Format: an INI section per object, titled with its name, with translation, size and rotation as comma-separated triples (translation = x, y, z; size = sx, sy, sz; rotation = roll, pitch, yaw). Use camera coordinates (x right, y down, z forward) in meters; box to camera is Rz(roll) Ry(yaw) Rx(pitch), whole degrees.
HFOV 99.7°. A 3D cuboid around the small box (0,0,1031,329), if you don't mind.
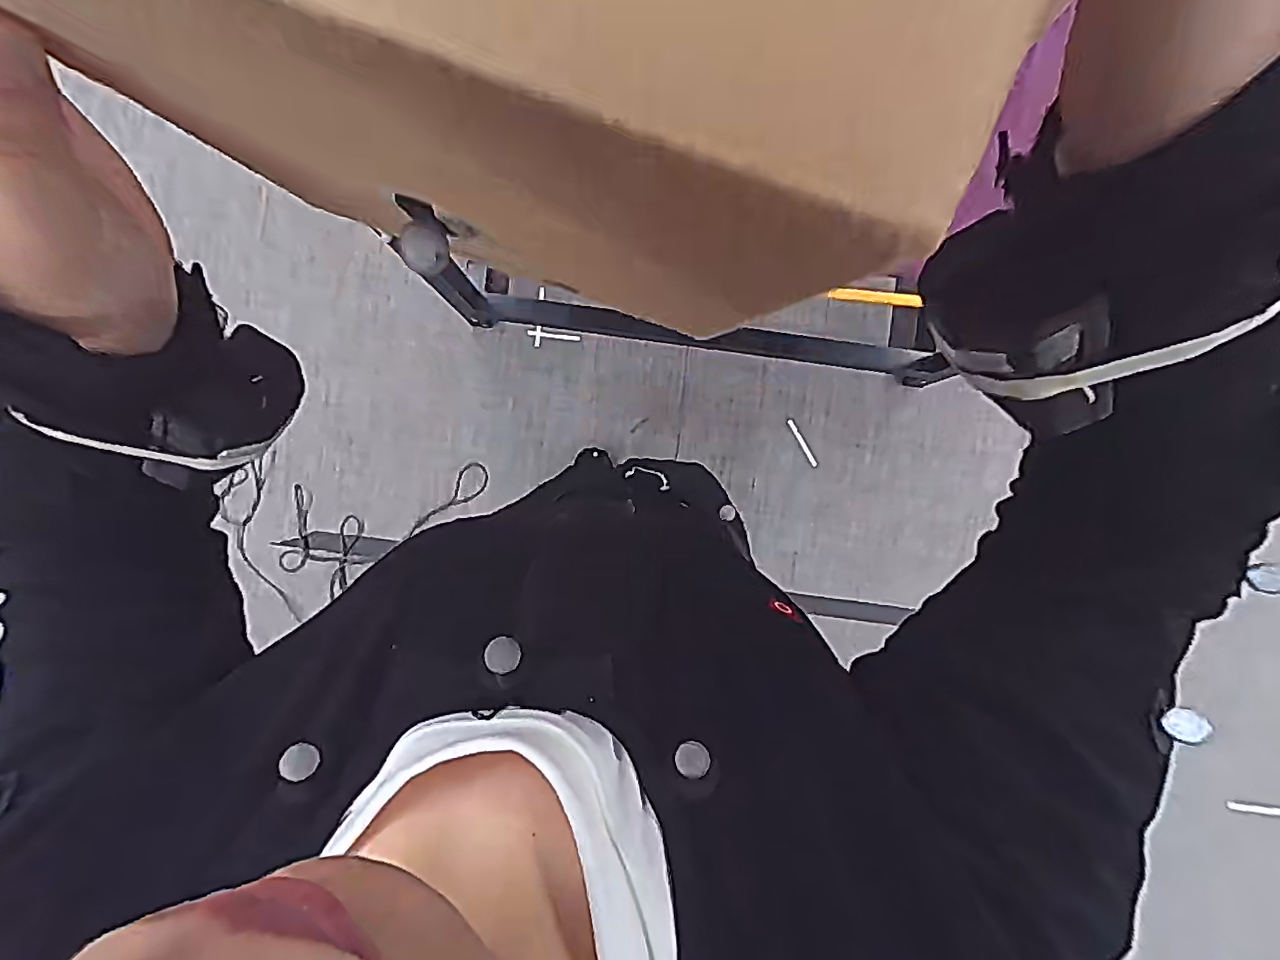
[small box]
translation = -0.019, -0.145, 0.122
size = 0.168, 0.176, 0.179
rotation = 18, 100, -6
